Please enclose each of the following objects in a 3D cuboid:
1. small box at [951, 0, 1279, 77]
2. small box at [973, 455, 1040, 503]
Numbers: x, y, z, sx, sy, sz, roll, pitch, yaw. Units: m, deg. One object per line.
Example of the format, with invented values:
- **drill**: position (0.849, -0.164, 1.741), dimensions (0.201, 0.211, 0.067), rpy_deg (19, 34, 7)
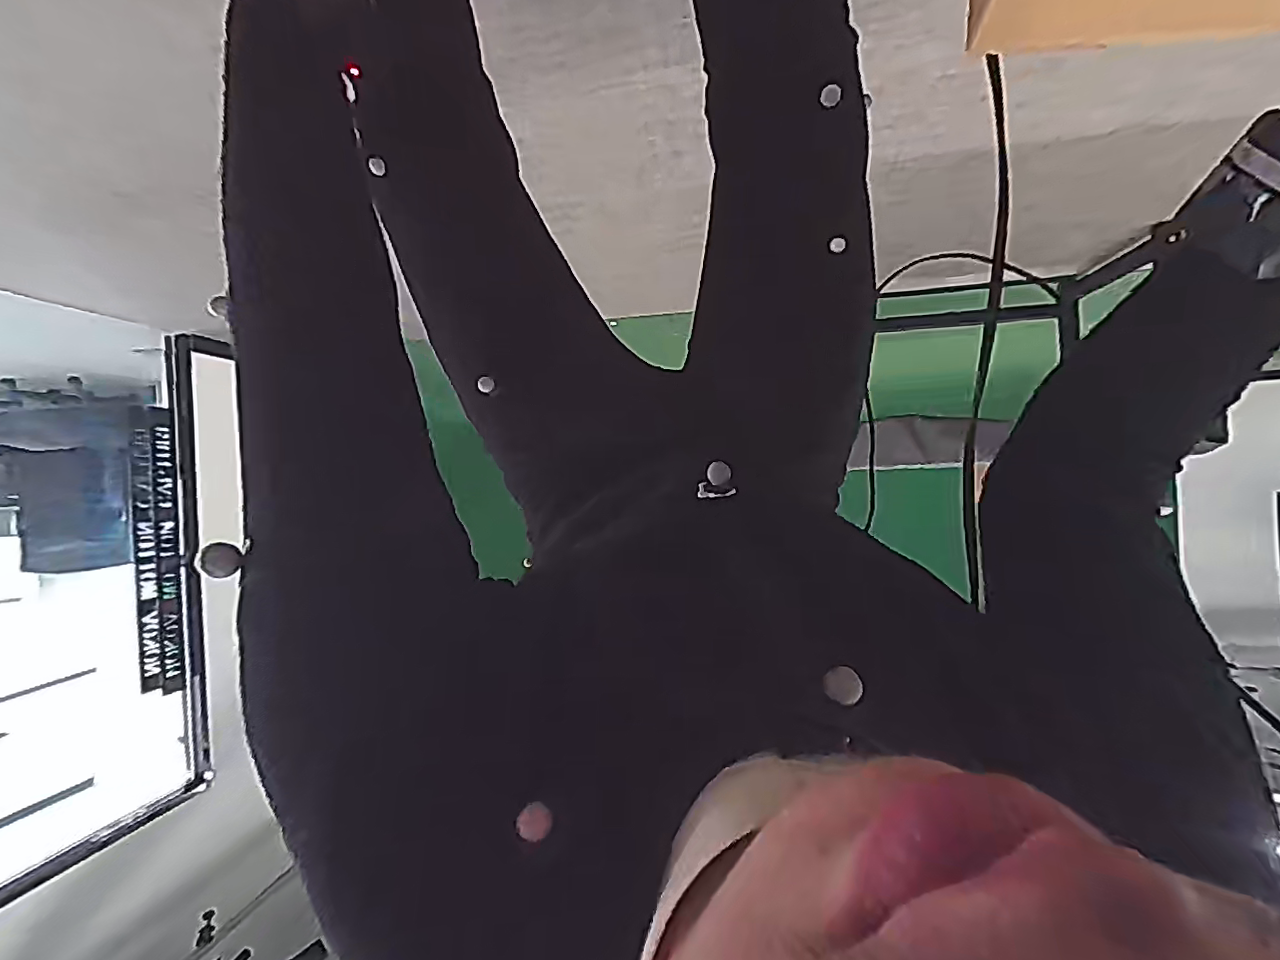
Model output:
- **small box**: position (0.225, -0.271, 0.165), dimensions (0.179, 0.176, 0.168), rpy_deg (6, 176, 11)
- **small box**: position (1.397, -0.006, 2.073), dimensions (0.168, 0.176, 0.179), rpy_deg (-4, 180, 15)
